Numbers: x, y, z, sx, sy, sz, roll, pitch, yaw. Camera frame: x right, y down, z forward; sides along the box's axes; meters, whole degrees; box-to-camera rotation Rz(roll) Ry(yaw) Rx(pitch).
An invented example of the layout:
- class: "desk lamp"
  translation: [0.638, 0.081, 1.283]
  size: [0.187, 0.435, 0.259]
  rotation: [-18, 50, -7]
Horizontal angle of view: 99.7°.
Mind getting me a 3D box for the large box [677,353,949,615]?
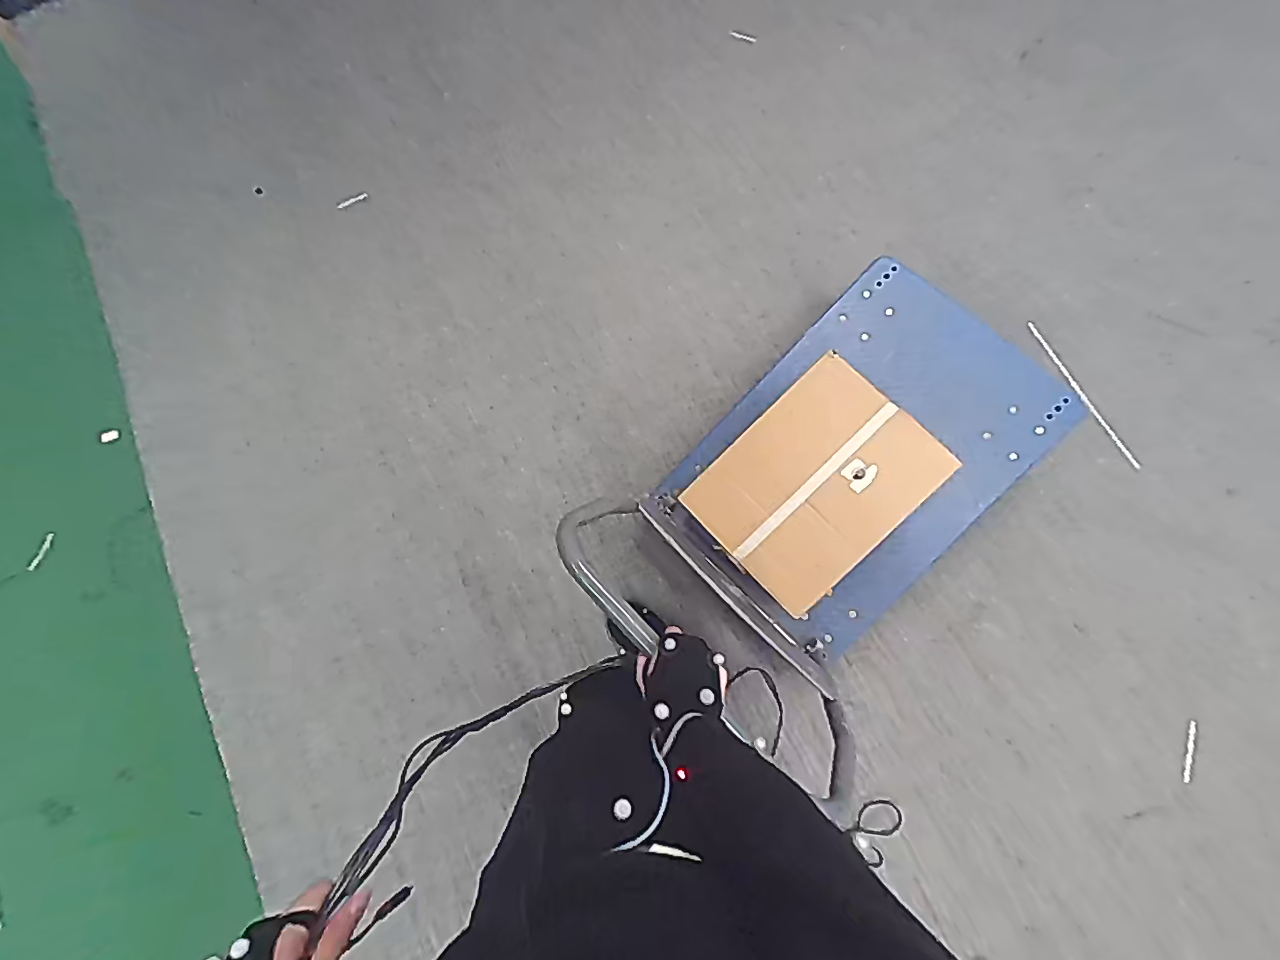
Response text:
- class: "large box"
  translation: [0.337, 0.021, 1.145]
  size: [0.408, 0.320, 0.320]
  rotation: [-44, 79, 3]
